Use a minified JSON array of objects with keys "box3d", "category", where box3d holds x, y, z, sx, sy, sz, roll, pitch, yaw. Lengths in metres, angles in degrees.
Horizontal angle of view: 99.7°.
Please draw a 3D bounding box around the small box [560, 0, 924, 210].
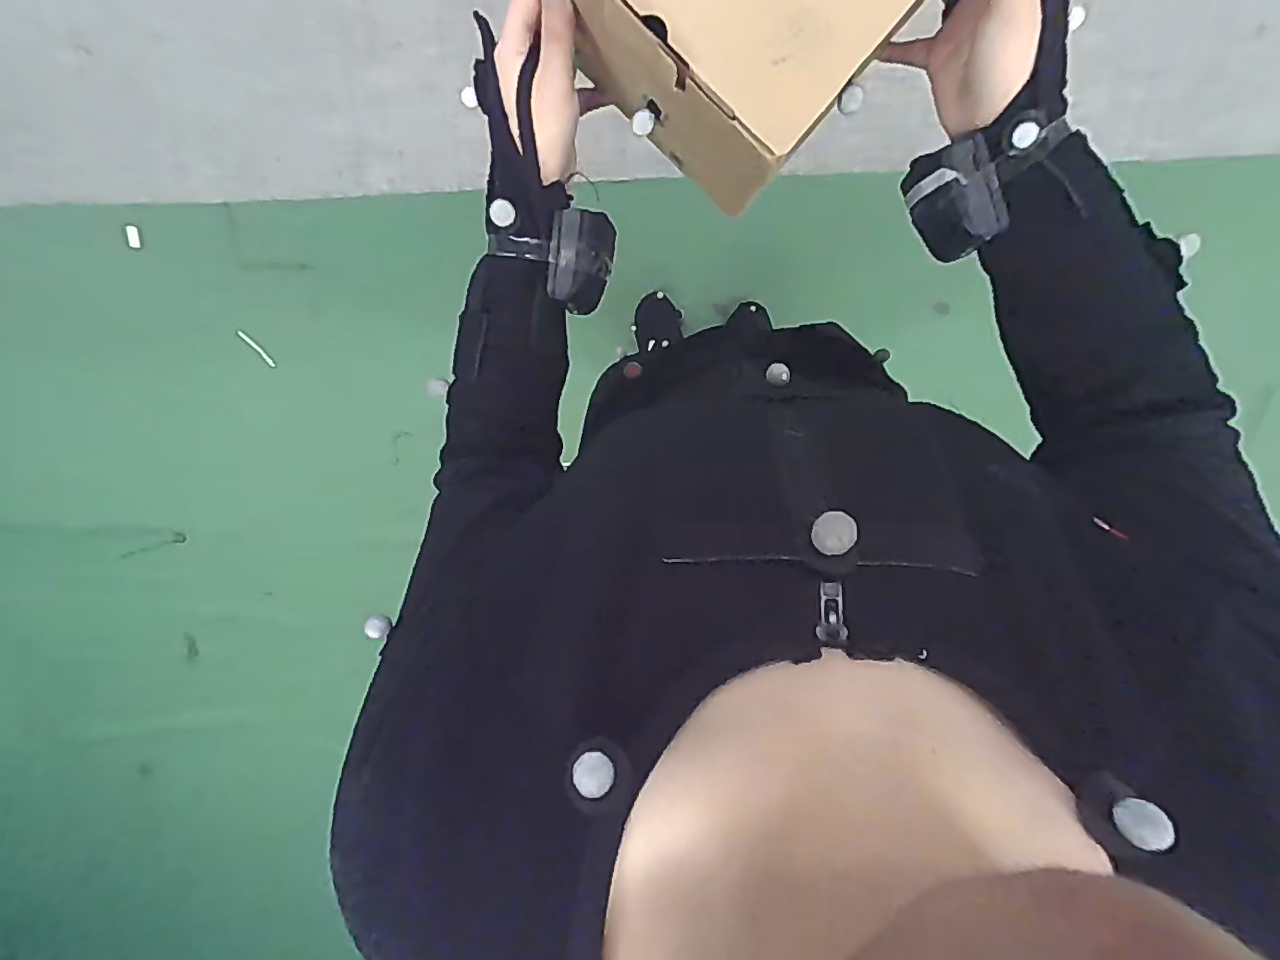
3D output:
[{"box3d":[0.066,-0.292,0.315,0.168,0.176,0.179,40,105,-9],"category":"small box"}]
